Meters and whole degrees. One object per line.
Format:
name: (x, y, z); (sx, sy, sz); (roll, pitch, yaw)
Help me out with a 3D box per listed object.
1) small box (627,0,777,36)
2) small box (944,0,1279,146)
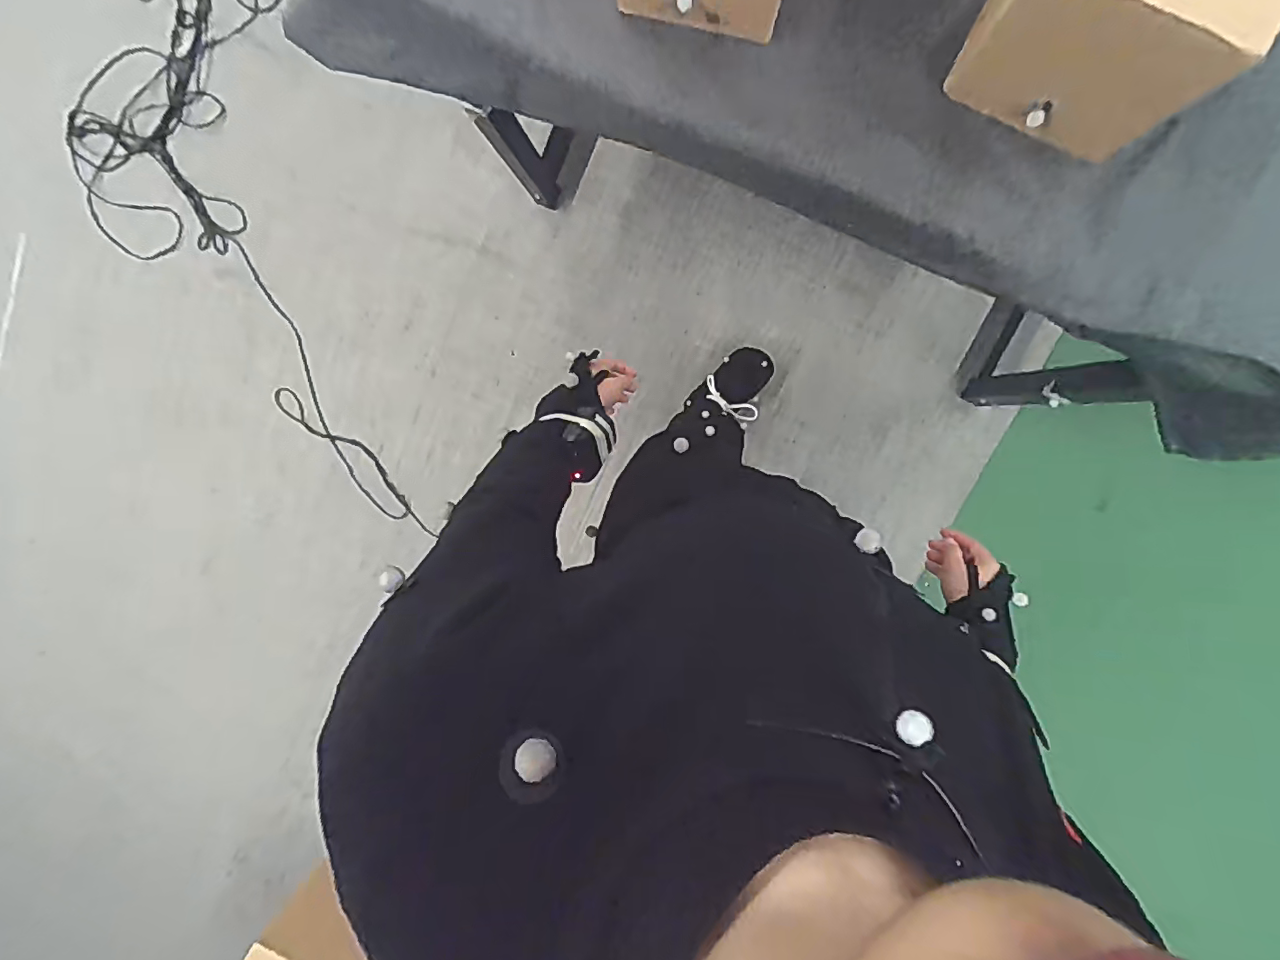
small box: (0.068, -0.550, 0.472); (0.168, 0.176, 0.179); (16, 99, 3)
small box: (0.408, -0.423, 0.457); (0.179, 0.176, 0.168); (26, 99, 1)
